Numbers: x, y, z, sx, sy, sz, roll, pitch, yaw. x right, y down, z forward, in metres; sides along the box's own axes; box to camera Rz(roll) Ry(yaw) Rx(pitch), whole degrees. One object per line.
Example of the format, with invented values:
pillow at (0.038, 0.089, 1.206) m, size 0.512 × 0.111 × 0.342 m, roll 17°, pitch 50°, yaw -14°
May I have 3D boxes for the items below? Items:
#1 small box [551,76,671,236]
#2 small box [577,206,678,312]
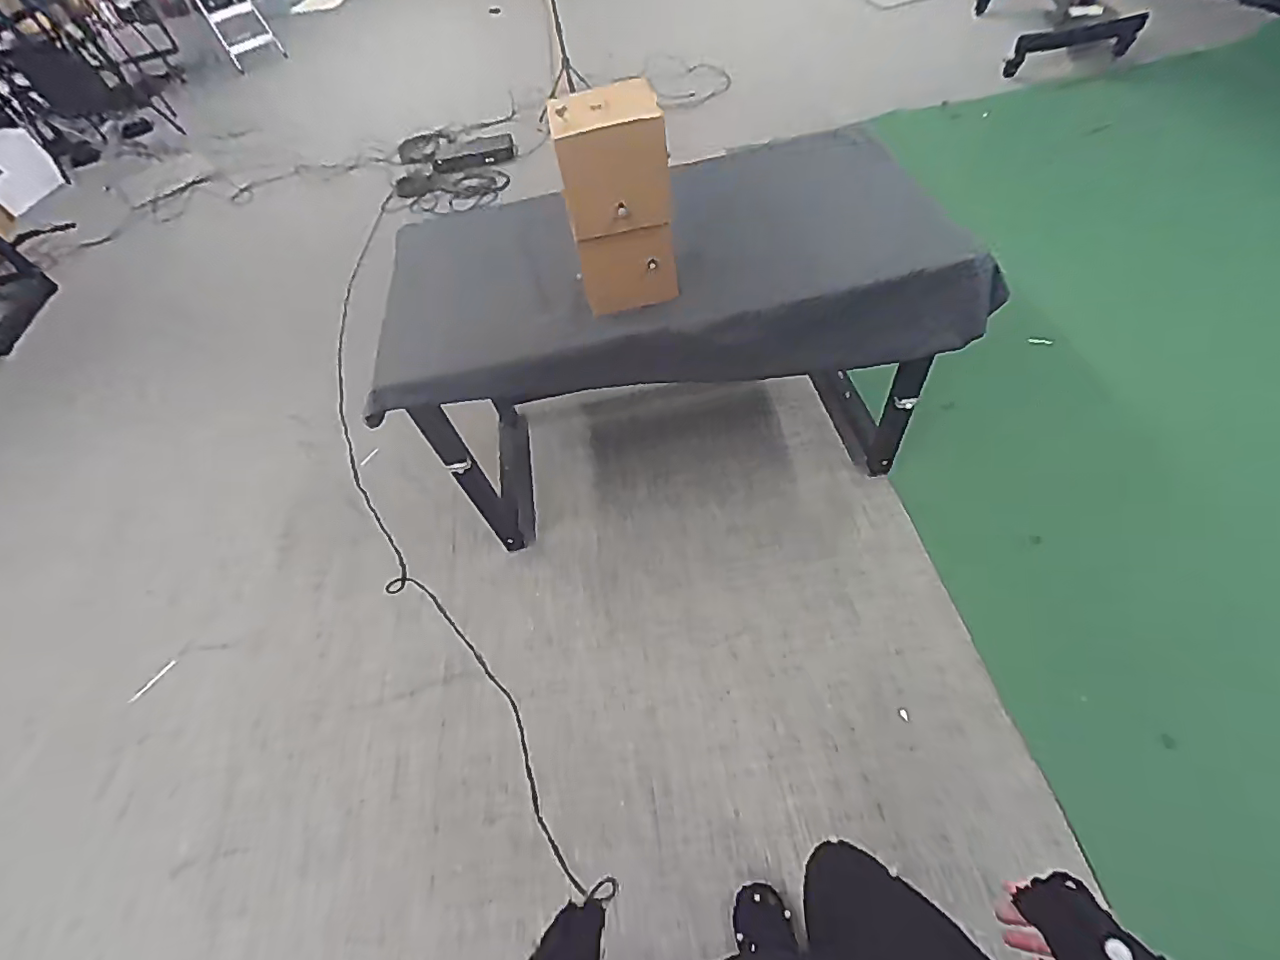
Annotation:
small box at (-0.045, -0.548, 0.923) m, size 0.179 × 0.176 × 0.168 m, roll -11°, pitch 53°, yaw 1°
small box at (-0.025, -0.458, 1.059) m, size 0.179 × 0.176 × 0.168 m, roll -13°, pitch 53°, yaw 2°
